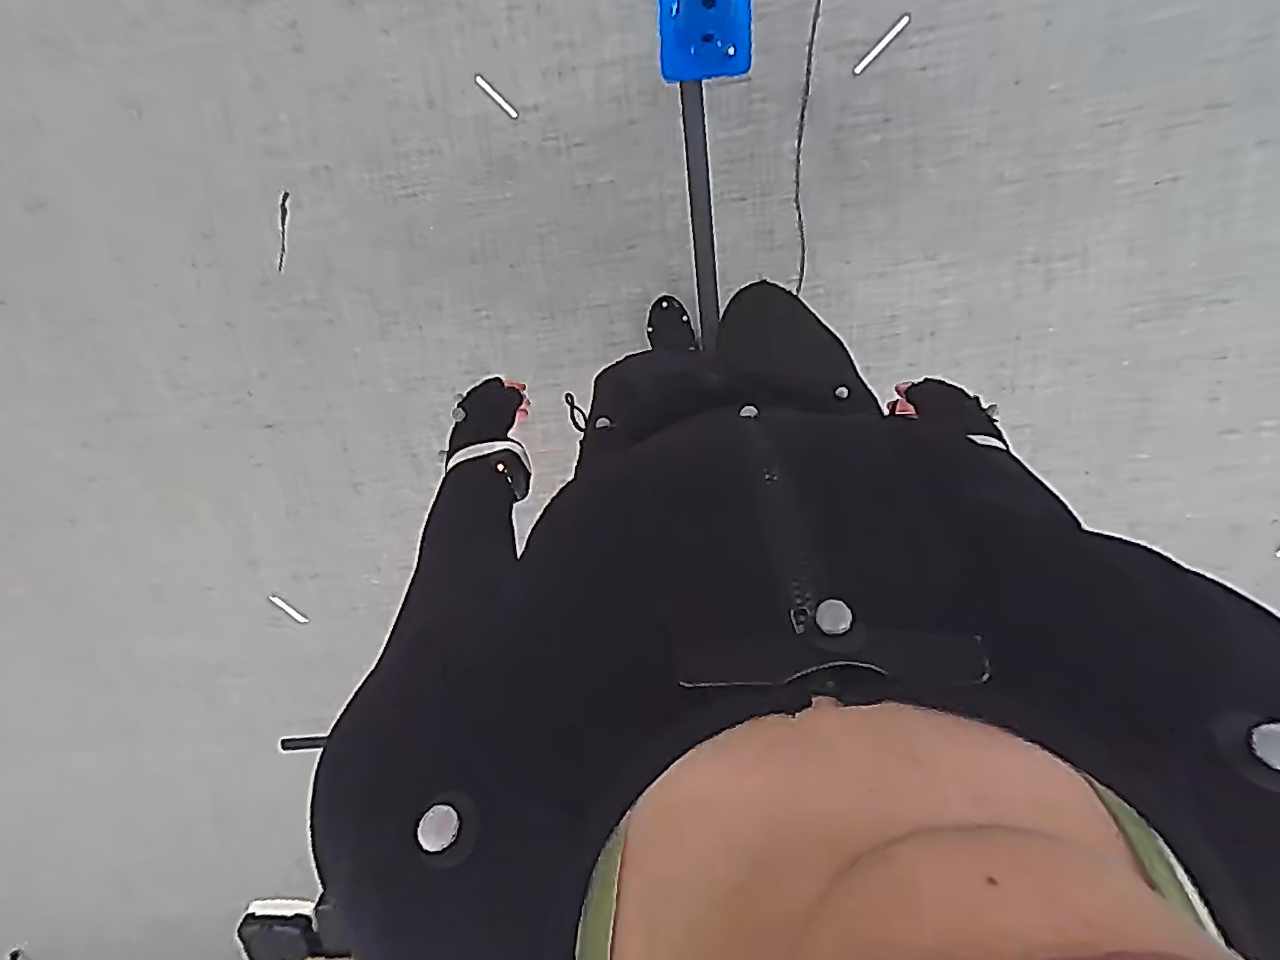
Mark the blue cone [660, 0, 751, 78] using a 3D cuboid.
[{"bbox_3d":[0.130,-0.932,0.999,0.193,0.380,0.192,-3,107,4],"label":"blue cone"}]
